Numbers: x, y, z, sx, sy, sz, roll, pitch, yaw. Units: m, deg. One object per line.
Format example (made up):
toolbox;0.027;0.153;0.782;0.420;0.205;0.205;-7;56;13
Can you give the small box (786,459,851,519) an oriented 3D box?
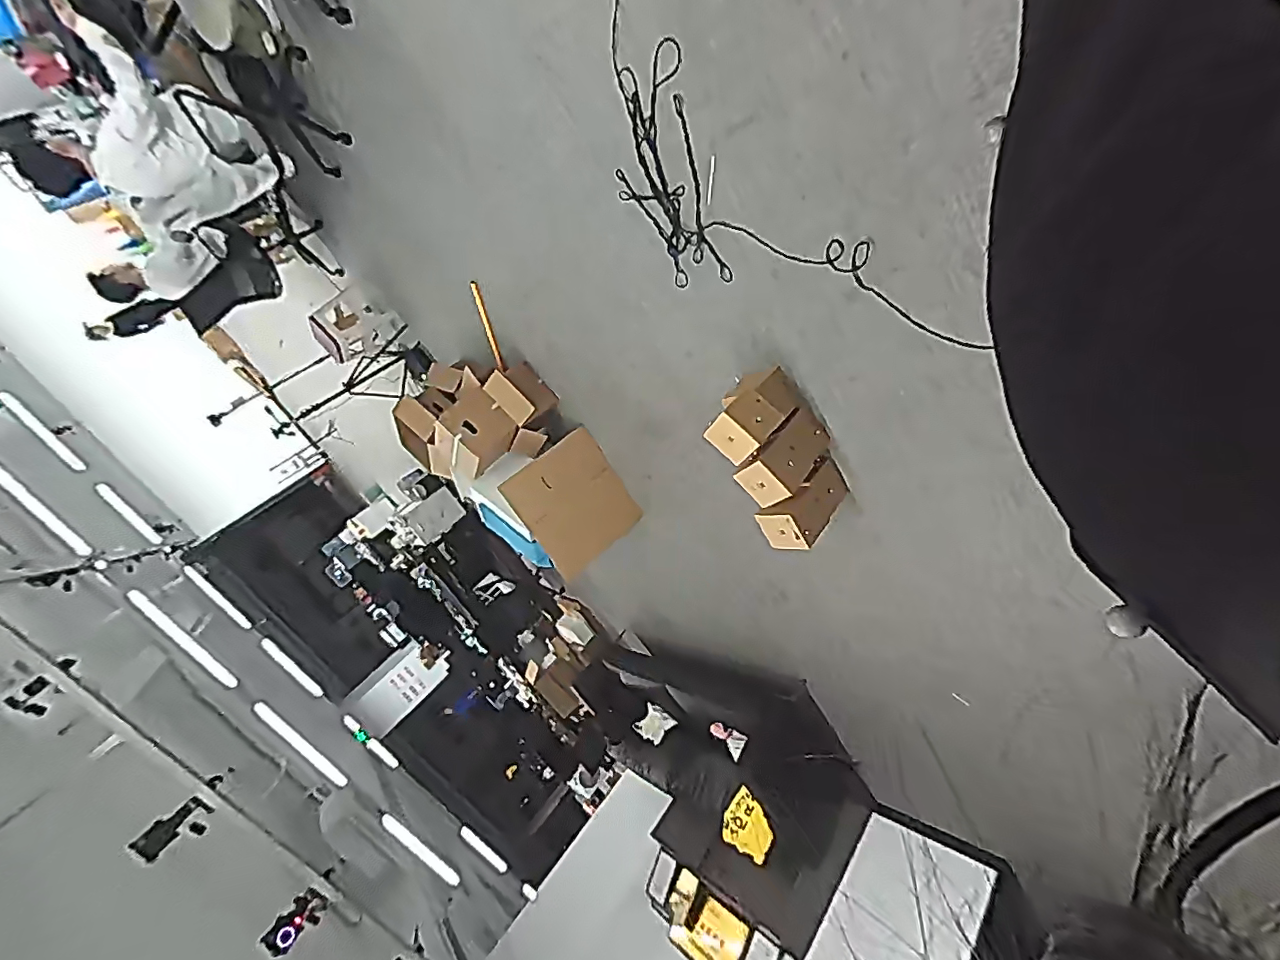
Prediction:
small box;0.674;0.031;2.077;0.168;0.176;0.179;-6;123;56

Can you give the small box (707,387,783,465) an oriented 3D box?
small box;0.365;-0.188;1.858;0.168;0.176;0.179;43;152;5

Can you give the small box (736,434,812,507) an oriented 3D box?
small box;0.480;-0.035;1.908;0.168;0.176;0.179;47;152;-2
